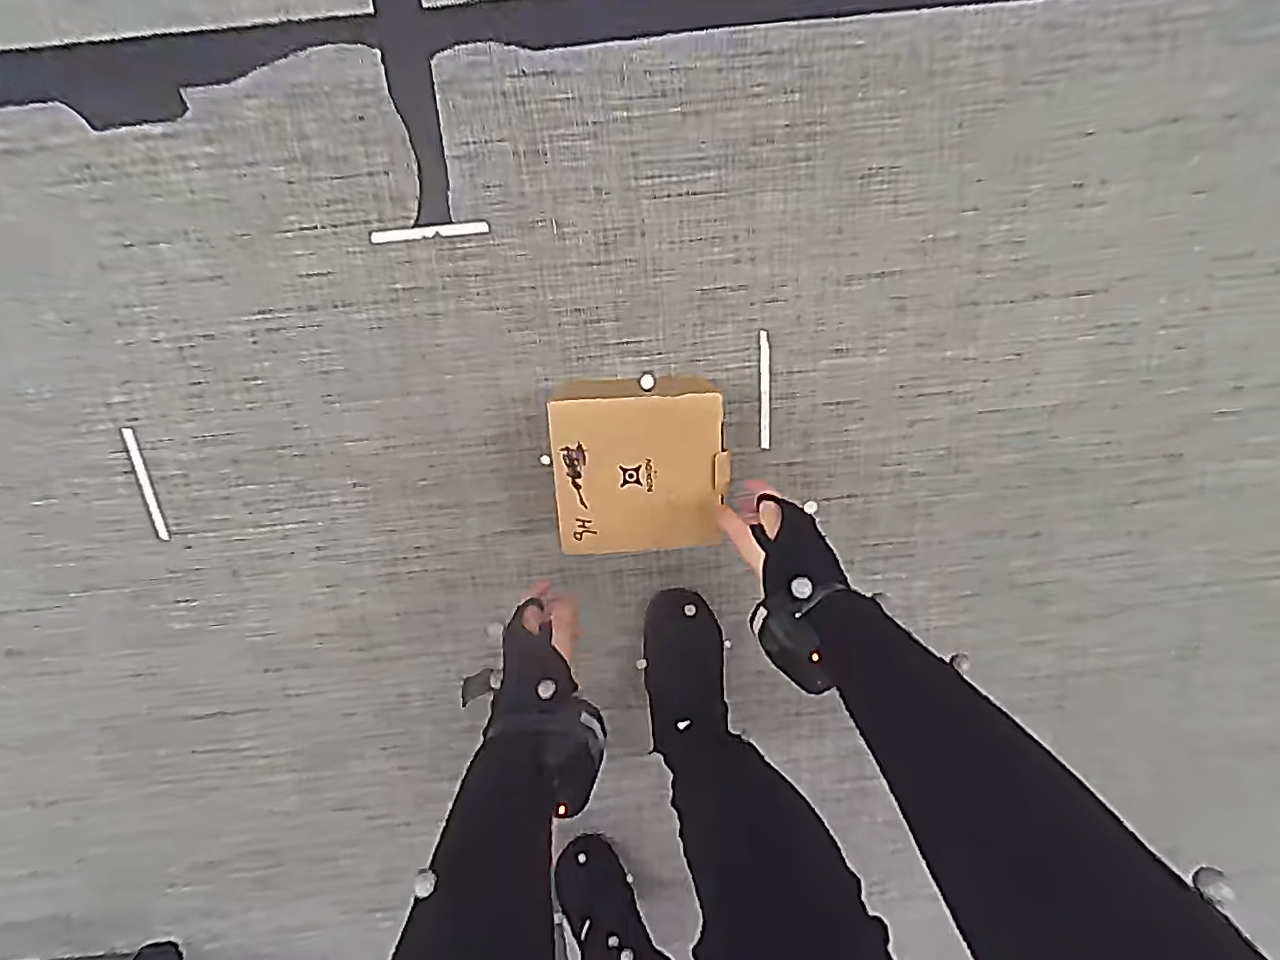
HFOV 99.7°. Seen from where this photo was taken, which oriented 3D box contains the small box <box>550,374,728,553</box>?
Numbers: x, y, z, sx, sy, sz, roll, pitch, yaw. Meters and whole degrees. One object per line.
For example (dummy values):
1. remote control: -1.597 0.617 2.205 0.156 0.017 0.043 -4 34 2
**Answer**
1. small box: -0.005 -0.029 0.618 0.179 0.176 0.168 -3 107 -3
